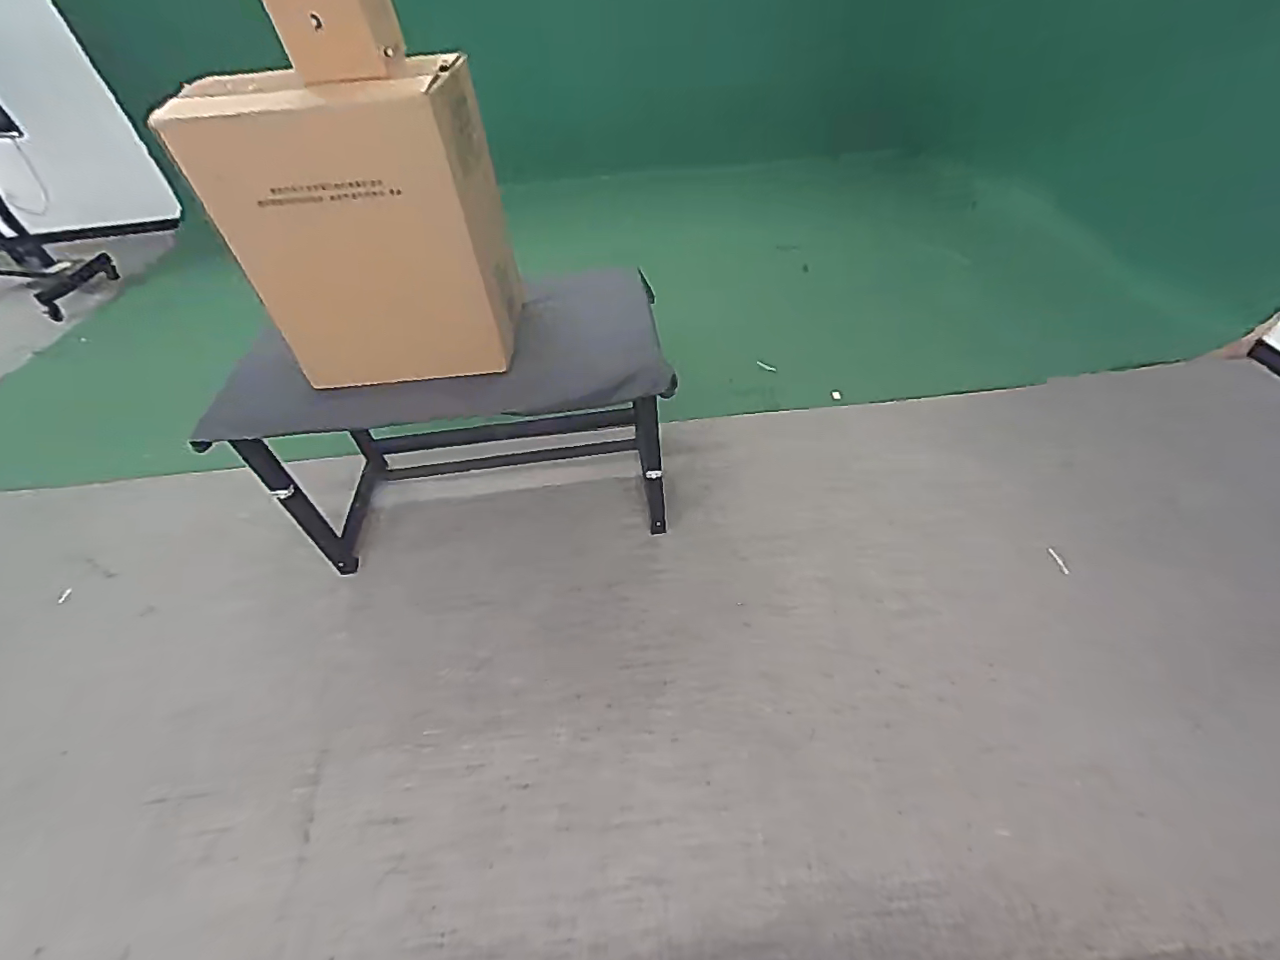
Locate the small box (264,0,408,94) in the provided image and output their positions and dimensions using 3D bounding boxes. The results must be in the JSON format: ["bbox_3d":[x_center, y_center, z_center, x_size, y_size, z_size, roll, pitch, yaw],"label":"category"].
[{"bbox_3d":[-0.578,-0.880,1.049,0.179,0.176,0.168,-5,53,3],"label":"small box"}]
